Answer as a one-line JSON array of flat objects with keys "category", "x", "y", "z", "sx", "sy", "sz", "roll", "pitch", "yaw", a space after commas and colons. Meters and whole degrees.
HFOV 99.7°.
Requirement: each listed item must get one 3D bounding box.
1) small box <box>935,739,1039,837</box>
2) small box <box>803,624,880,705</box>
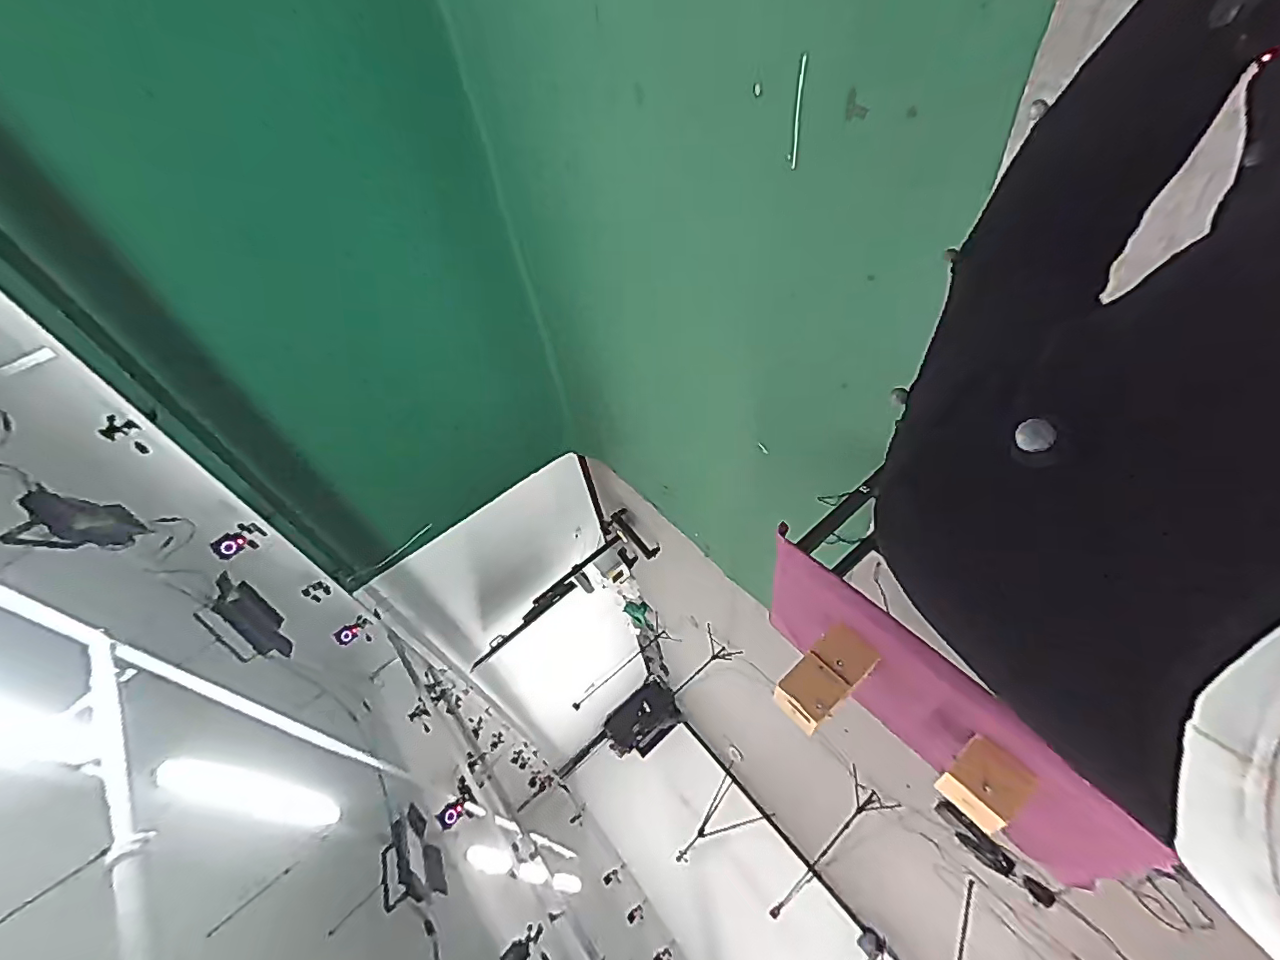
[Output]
[{"category": "small box", "x": 1.014, "y": 0.894, "z": 1.586, "sx": 0.179, "sy": 0.176, "sz": 0.168, "roll": 38, "pitch": 155, "yaw": 36}, {"category": "small box", "x": 0.697, "y": 0.636, "z": 1.872, "sx": 0.179, "sy": 0.176, "sz": 0.168, "roll": 42, "pitch": 157, "yaw": 32}]
